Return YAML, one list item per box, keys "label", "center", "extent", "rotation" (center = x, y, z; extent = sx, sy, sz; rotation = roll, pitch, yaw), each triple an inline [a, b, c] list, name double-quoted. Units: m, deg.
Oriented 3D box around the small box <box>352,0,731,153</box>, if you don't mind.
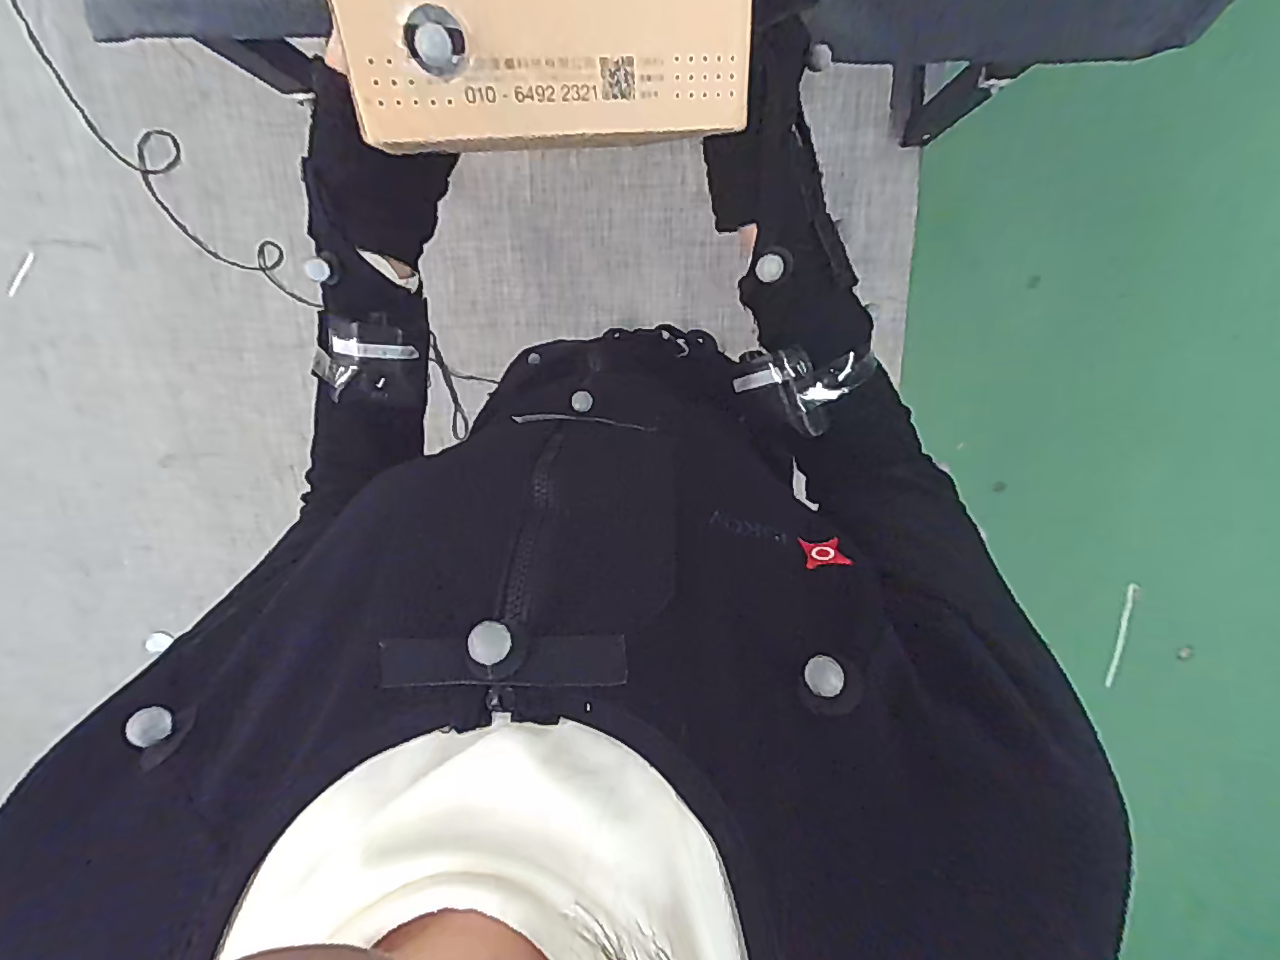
- label: "small box"
  center: [-0.059, -0.270, 0.272]
  extent: [0.168, 0.179, 0.176]
  rotation: [-11, 121, -15]
